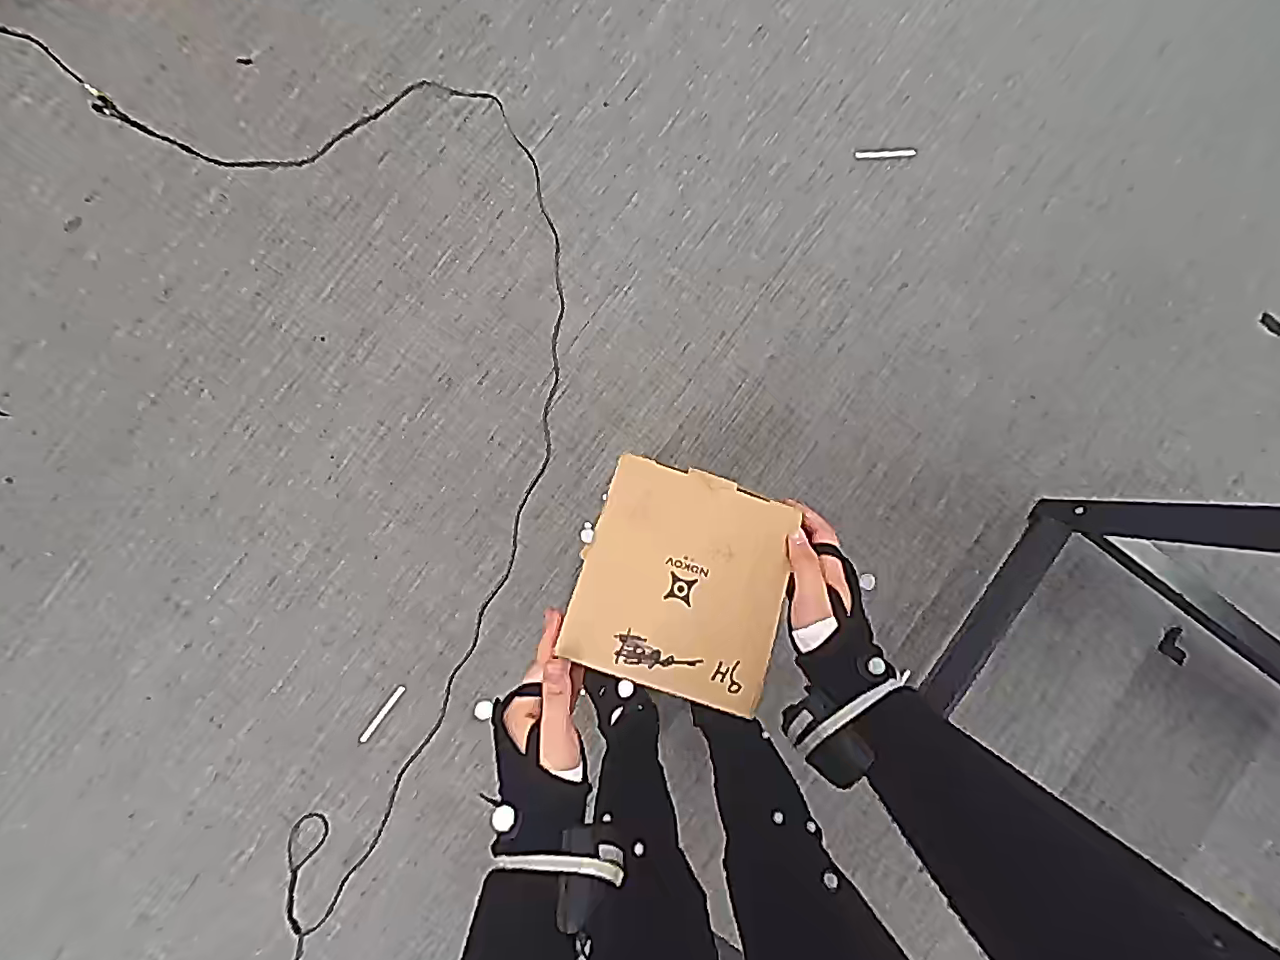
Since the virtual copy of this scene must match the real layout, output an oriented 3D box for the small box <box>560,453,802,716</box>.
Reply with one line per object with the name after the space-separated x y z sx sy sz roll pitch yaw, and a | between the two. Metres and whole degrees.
0.032 0.100 0.521 0.168 0.176 0.179 18 75 1 | small box
